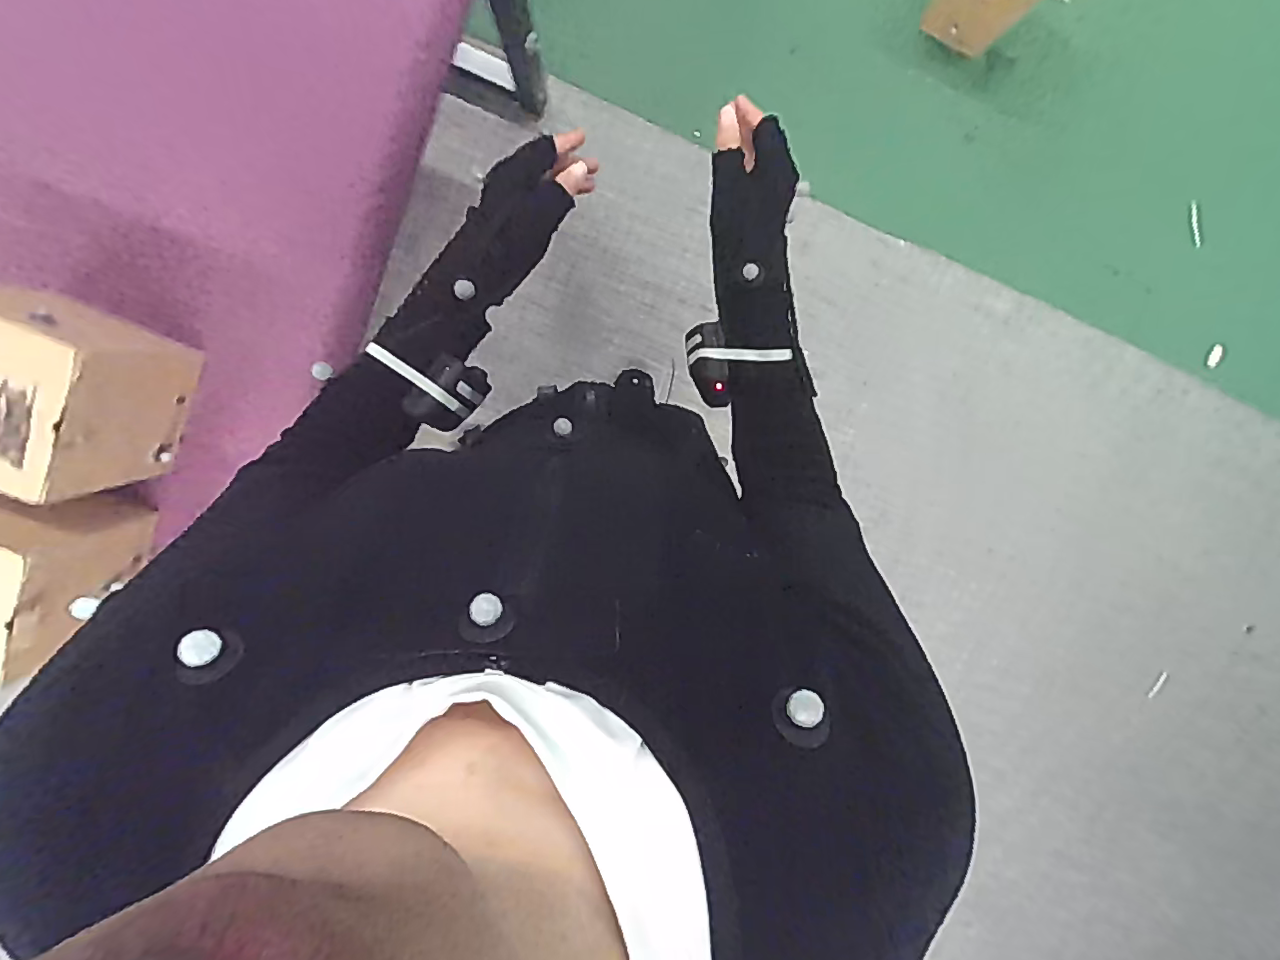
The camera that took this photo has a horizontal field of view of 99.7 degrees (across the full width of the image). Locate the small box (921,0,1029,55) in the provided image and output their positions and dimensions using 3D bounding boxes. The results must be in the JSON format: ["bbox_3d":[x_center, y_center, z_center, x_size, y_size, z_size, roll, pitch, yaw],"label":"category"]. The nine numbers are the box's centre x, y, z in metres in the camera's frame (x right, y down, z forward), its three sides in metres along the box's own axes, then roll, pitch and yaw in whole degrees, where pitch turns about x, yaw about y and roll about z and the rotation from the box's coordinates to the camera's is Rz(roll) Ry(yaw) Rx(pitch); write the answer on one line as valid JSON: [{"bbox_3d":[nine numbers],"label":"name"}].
[{"bbox_3d":[0.780,-1.130,1.224,0.168,0.176,0.179,21,100,-8],"label":"small box"}]

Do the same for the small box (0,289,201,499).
[{"bbox_3d":[-0.640,-0.102,0.591,0.179,0.176,0.168,23,99,-8],"label":"small box"}]

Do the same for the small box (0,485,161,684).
[{"bbox_3d":[-0.726,0.098,0.625,0.179,0.176,0.168,21,100,-8],"label":"small box"}]
